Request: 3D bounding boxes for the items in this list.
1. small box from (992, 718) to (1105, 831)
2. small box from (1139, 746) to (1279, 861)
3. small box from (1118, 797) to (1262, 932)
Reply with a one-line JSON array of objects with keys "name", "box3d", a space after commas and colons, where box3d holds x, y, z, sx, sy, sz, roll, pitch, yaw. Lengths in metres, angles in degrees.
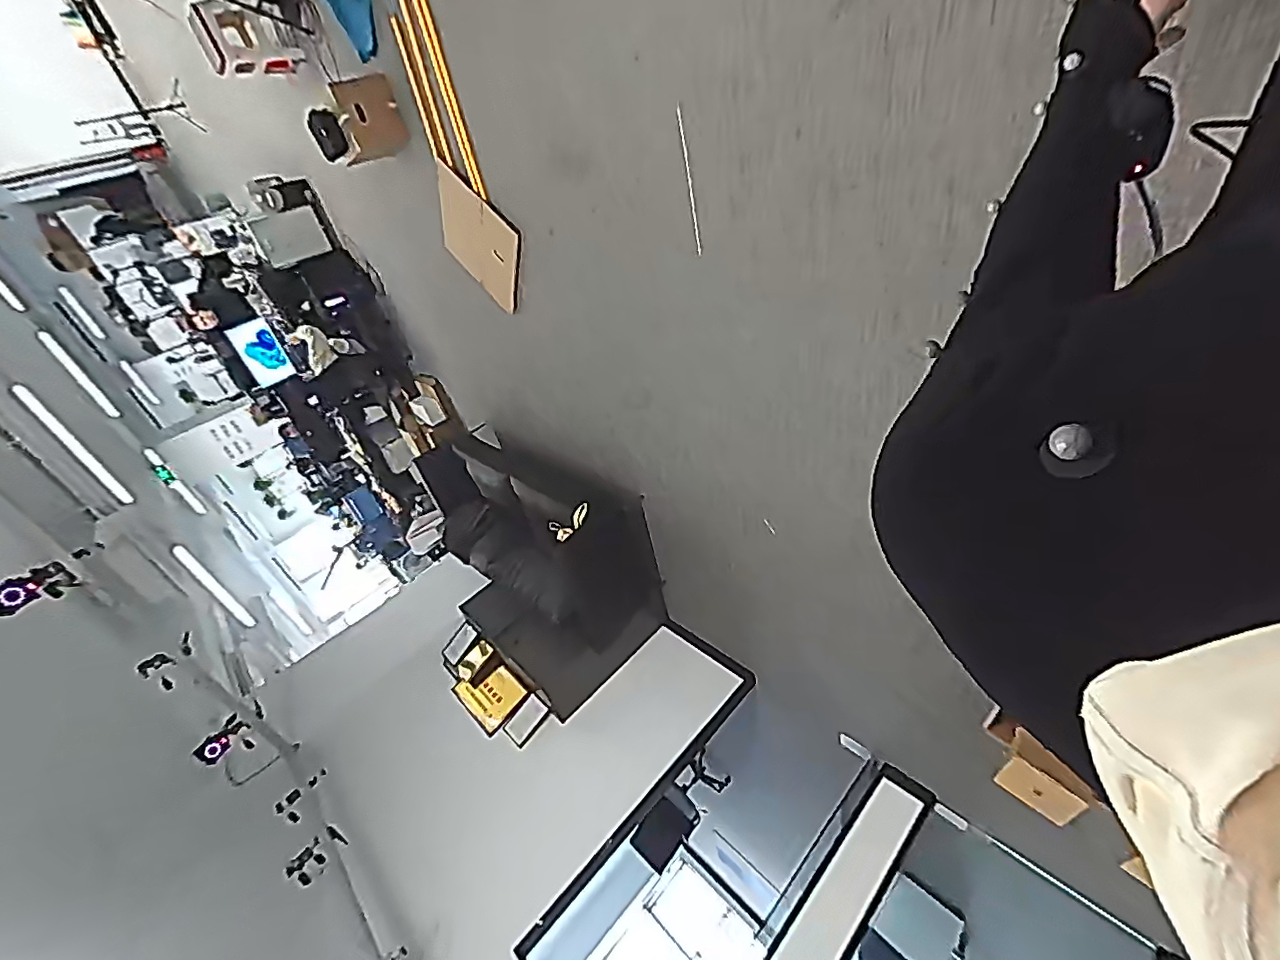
[{"name": "small box", "box3d": [1.065, 0.760, 1.409, 0.168, 0.176, 0.179, 33, 147, 36]}, {"name": "small box", "box3d": [1.383, 0.795, 1.315, 0.179, 0.176, 0.168, 32, 145, 34]}, {"name": "small box", "box3d": [1.264, 0.880, 1.244, 0.168, 0.176, 0.179, 32, 145, 35]}]
